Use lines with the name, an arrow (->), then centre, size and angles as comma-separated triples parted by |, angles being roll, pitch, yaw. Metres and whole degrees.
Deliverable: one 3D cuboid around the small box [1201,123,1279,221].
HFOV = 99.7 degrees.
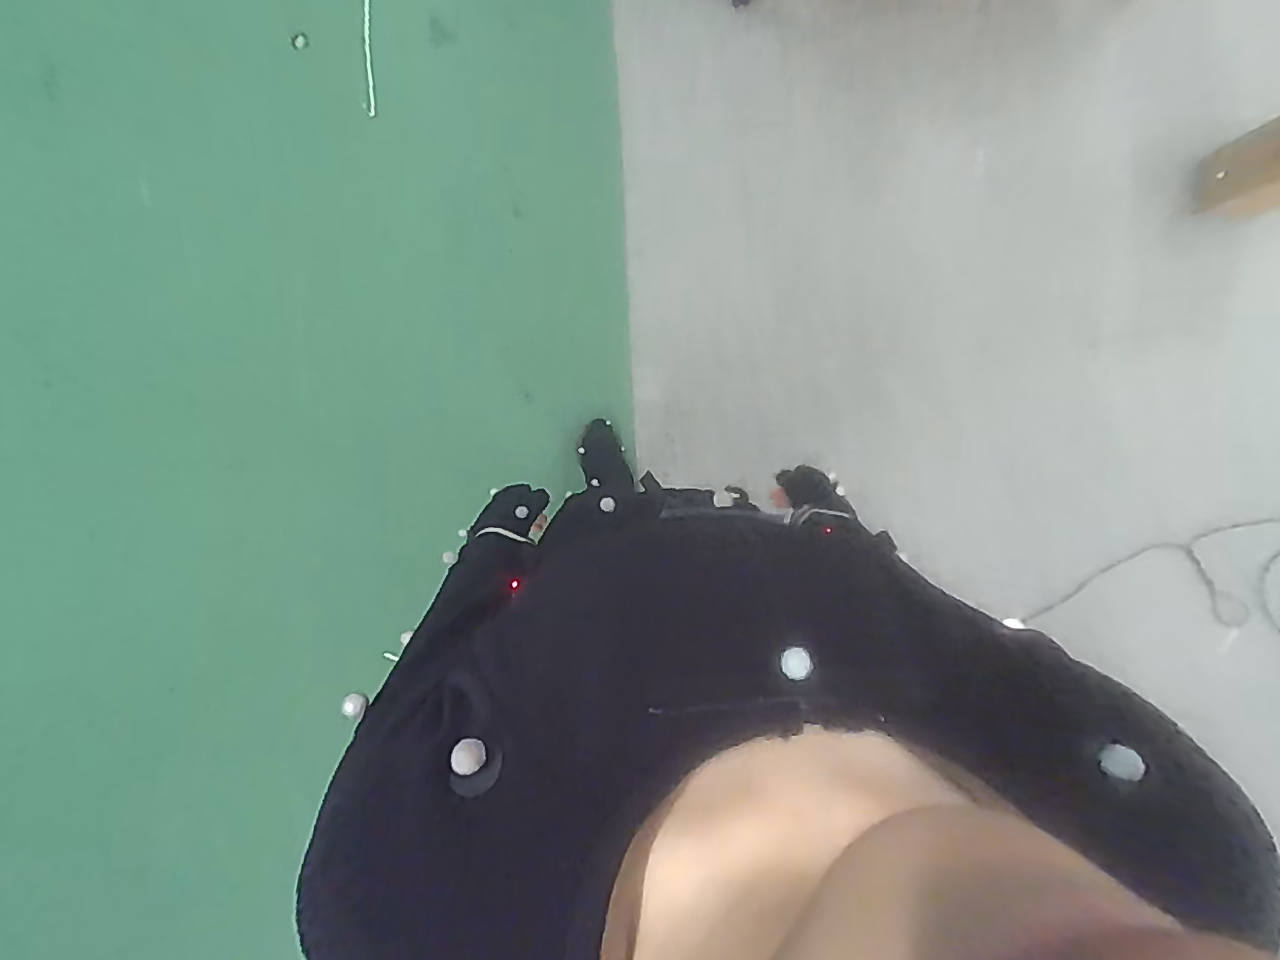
small box -> 1.664, -0.808, 1.435 | 0.179, 0.176, 0.168 | 2, 90, -1
